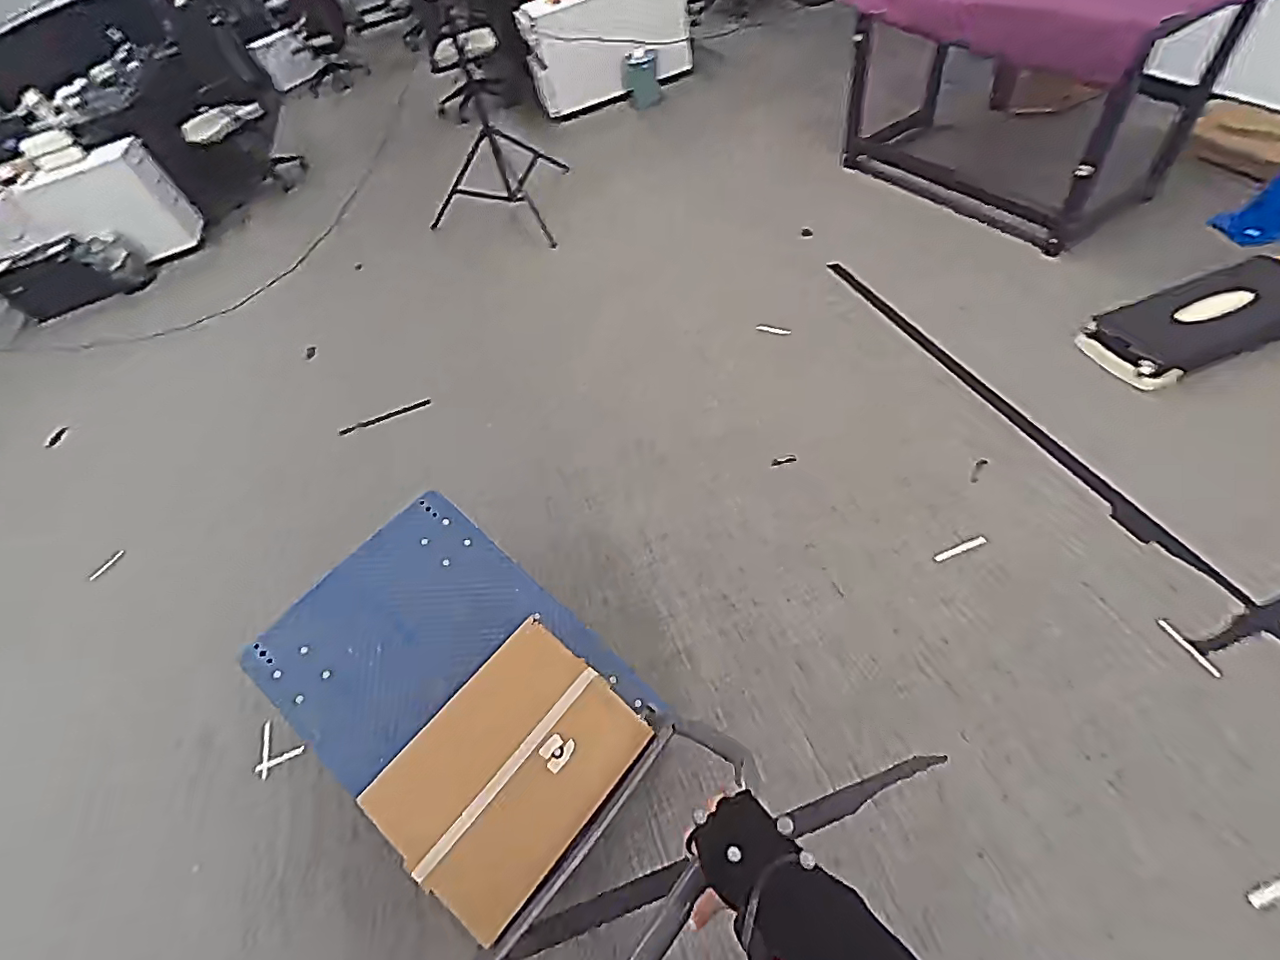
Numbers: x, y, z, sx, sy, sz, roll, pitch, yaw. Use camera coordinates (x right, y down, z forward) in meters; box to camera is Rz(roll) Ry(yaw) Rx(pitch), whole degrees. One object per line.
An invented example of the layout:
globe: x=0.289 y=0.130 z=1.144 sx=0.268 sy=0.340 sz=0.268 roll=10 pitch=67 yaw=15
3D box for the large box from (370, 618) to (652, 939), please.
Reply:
large box: x=-0.229 y=0.554 z=1.076 sx=0.320 sy=0.320 sz=0.408 roll=39 pitch=68 yaw=11
